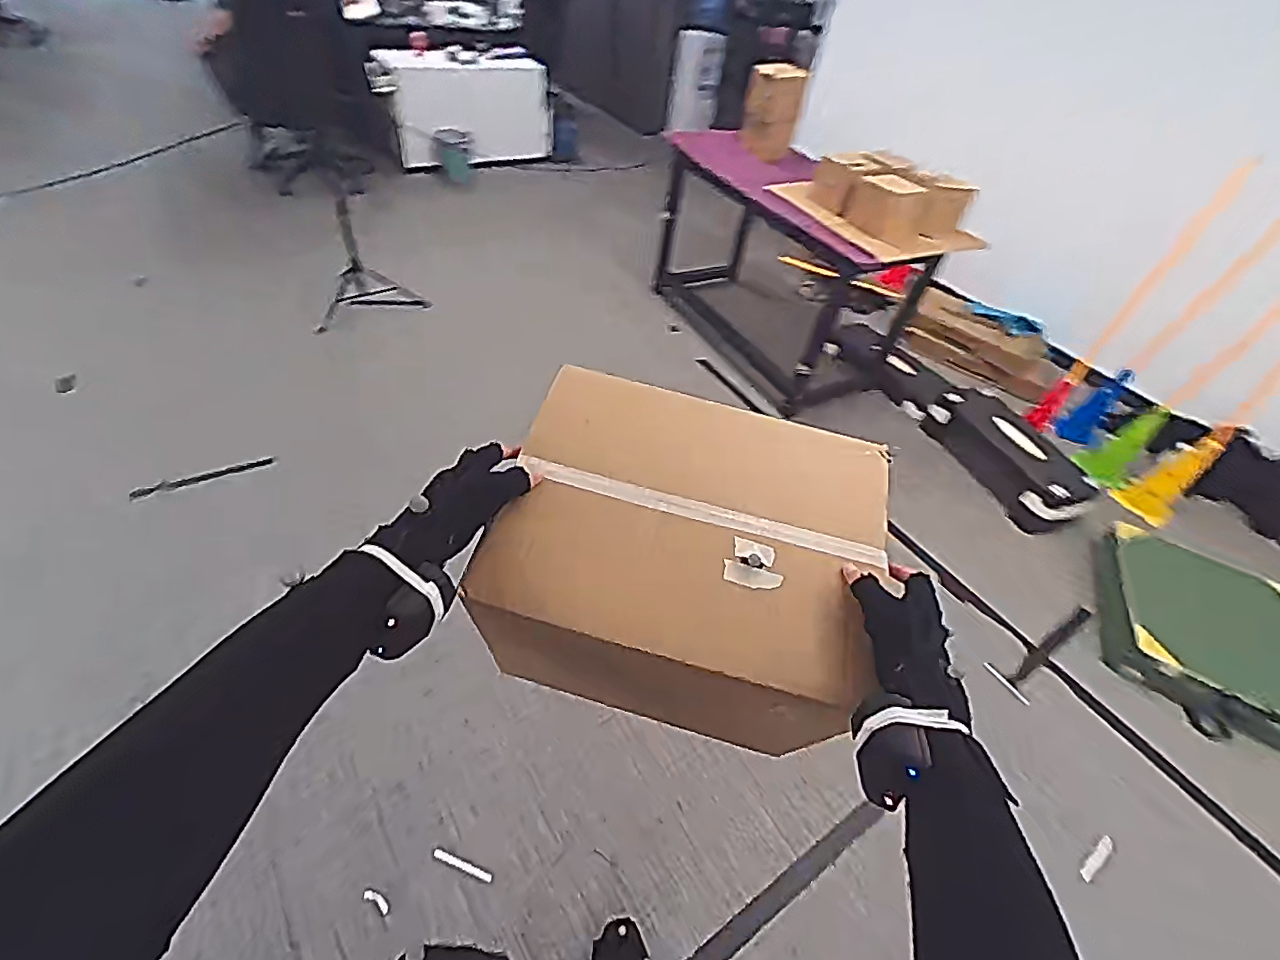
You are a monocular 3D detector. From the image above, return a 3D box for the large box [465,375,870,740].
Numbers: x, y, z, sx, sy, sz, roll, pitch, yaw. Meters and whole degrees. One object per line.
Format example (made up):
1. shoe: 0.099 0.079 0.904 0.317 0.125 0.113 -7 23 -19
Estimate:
1. large box: 0.038 0.115 0.715 0.408 0.320 0.320 15 58 3
